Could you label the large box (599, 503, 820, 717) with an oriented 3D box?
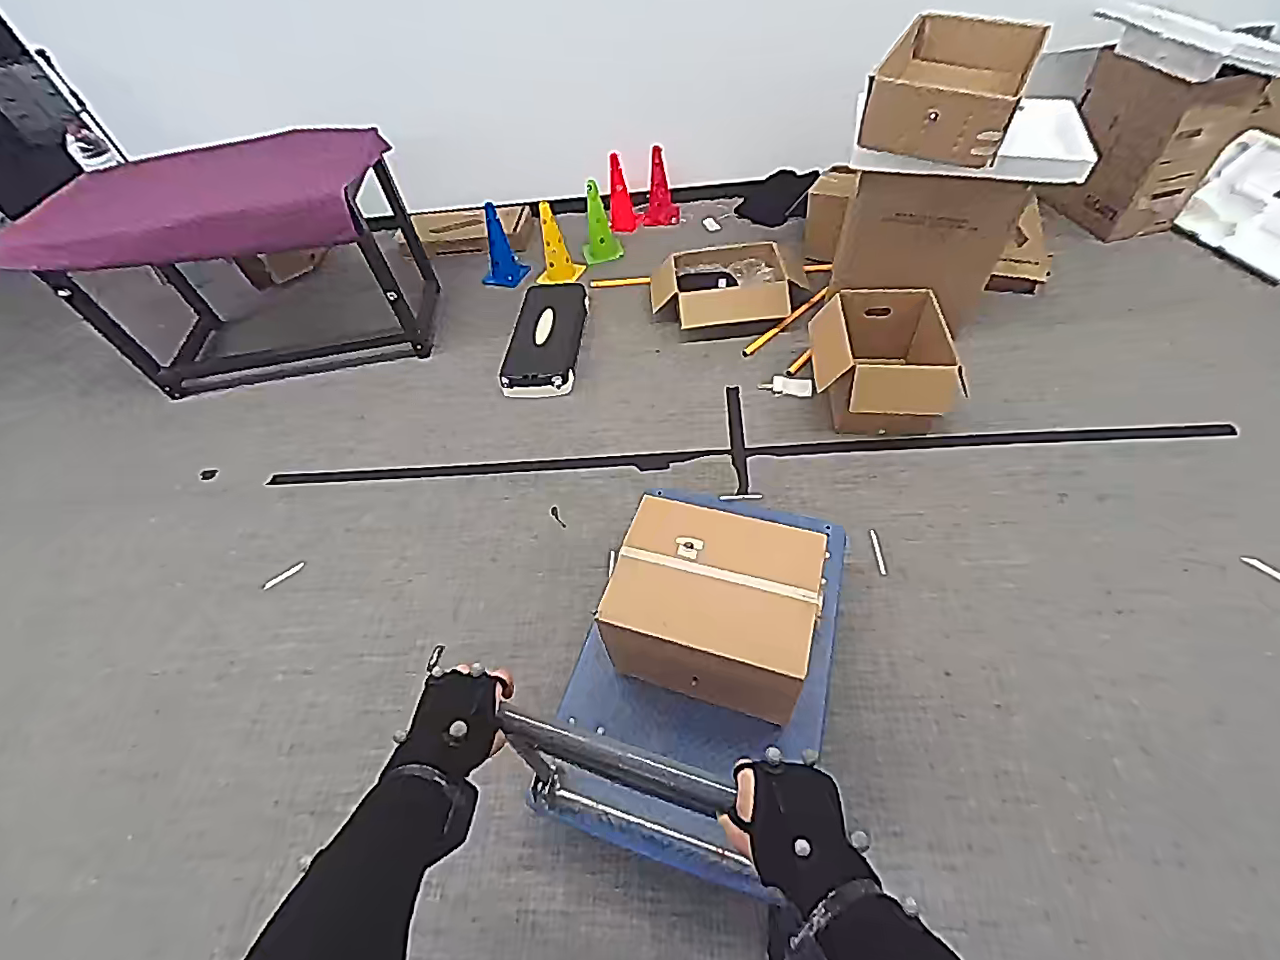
[{"bbox_3d":[0.167,0.292,1.222,0.408,0.320,0.320,11,53,16],"label":"large box"}]
